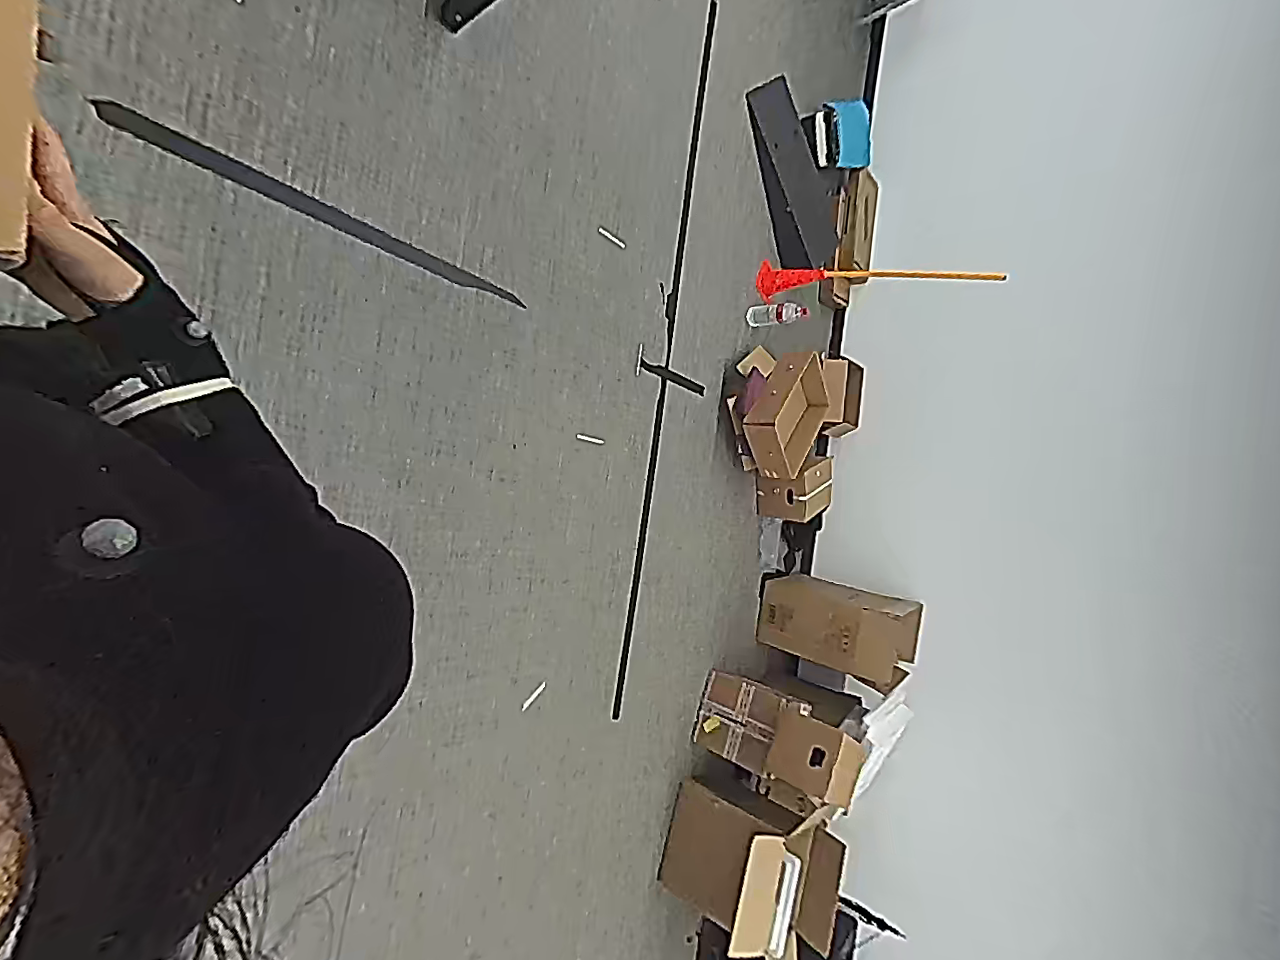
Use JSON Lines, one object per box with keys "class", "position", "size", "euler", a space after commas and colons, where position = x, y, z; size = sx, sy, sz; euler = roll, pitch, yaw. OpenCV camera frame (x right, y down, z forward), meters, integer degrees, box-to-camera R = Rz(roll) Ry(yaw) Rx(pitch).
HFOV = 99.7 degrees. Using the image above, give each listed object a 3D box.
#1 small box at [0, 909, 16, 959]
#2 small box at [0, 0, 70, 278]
{"class": "small box", "position": [-1.211, 0.897, 0.924], "size": [0.179, 0.176, 0.168], "euler": [0, 95, -52]}
{"class": "small box", "position": [-0.409, -0.207, 0.250], "size": [0.168, 0.176, 0.179], "euler": [1, 94, -59]}
